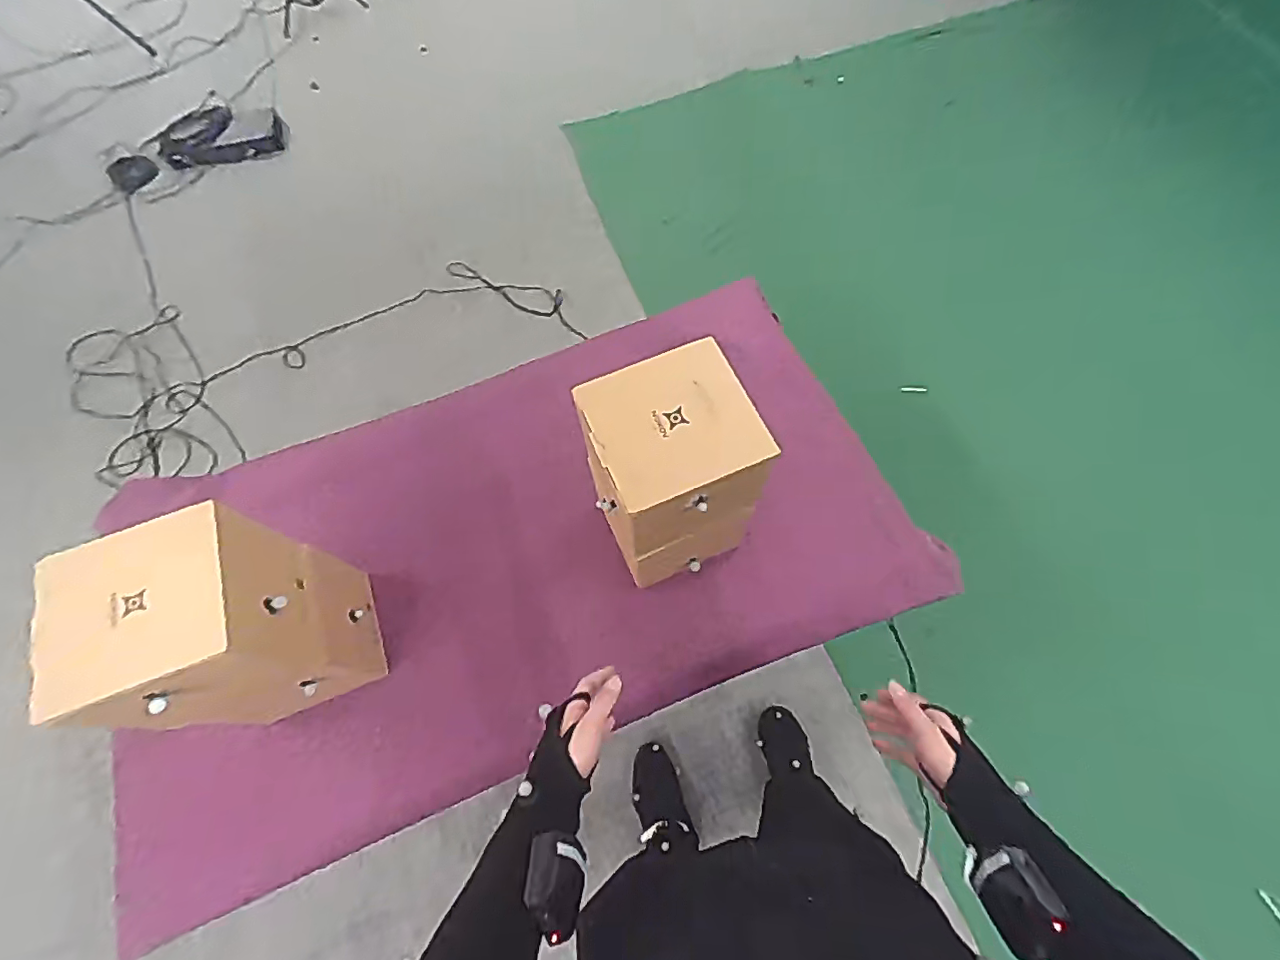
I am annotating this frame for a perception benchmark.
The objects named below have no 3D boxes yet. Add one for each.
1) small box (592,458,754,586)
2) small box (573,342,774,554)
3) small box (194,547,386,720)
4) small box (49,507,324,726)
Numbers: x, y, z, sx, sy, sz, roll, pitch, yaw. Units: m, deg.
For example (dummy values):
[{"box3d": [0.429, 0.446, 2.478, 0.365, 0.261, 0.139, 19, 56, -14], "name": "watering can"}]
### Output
[{"box3d": [0.044, 0.037, 0.804, 0.179, 0.176, 0.168, -23, 66, -7], "name": "small box"}, {"box3d": [0.037, -0.029, 0.656, 0.179, 0.176, 0.168, -21, 68, -6], "name": "small box"}, {"box3d": [-0.478, 0.217, 0.753, 0.179, 0.176, 0.168, -21, 67, -7], "name": "small box"}, {"box3d": [-0.483, 0.155, 0.603, 0.179, 0.176, 0.168, -22, 68, -6], "name": "small box"}]
